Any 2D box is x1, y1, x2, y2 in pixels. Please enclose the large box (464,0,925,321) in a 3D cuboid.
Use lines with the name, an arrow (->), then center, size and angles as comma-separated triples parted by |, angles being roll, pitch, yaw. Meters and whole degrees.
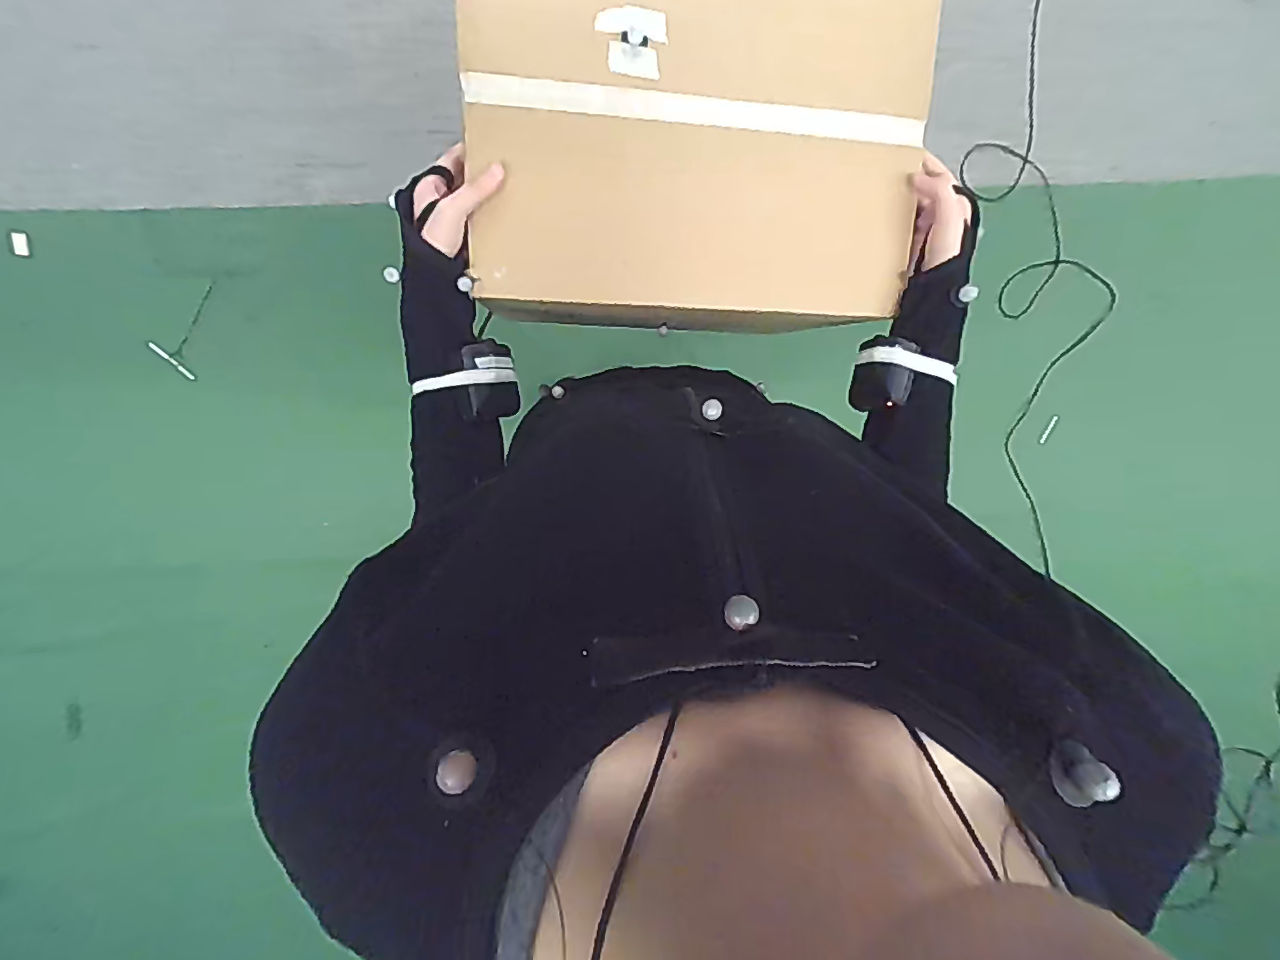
large box -> 0.034, -0.350, 0.620 | 0.408, 0.320, 0.320 | 0, 102, -8
